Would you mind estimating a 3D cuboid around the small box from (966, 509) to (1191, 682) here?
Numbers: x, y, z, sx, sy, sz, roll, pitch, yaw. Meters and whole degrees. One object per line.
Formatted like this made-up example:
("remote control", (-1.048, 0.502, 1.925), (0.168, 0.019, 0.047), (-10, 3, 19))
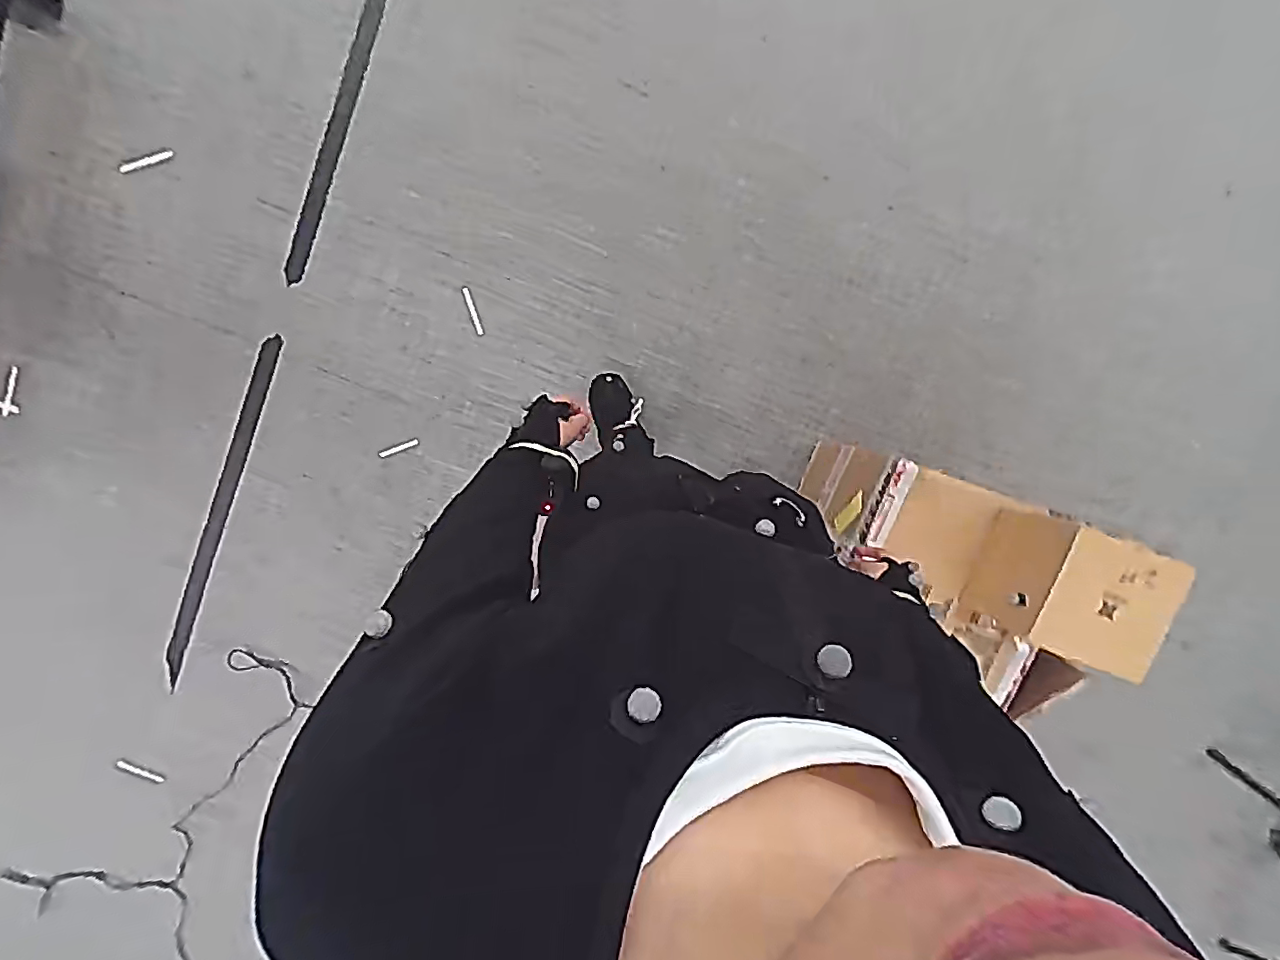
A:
("small box", (0.628, 0.159, 0.804), (0.168, 0.176, 0.179), (22, 95, 0))
